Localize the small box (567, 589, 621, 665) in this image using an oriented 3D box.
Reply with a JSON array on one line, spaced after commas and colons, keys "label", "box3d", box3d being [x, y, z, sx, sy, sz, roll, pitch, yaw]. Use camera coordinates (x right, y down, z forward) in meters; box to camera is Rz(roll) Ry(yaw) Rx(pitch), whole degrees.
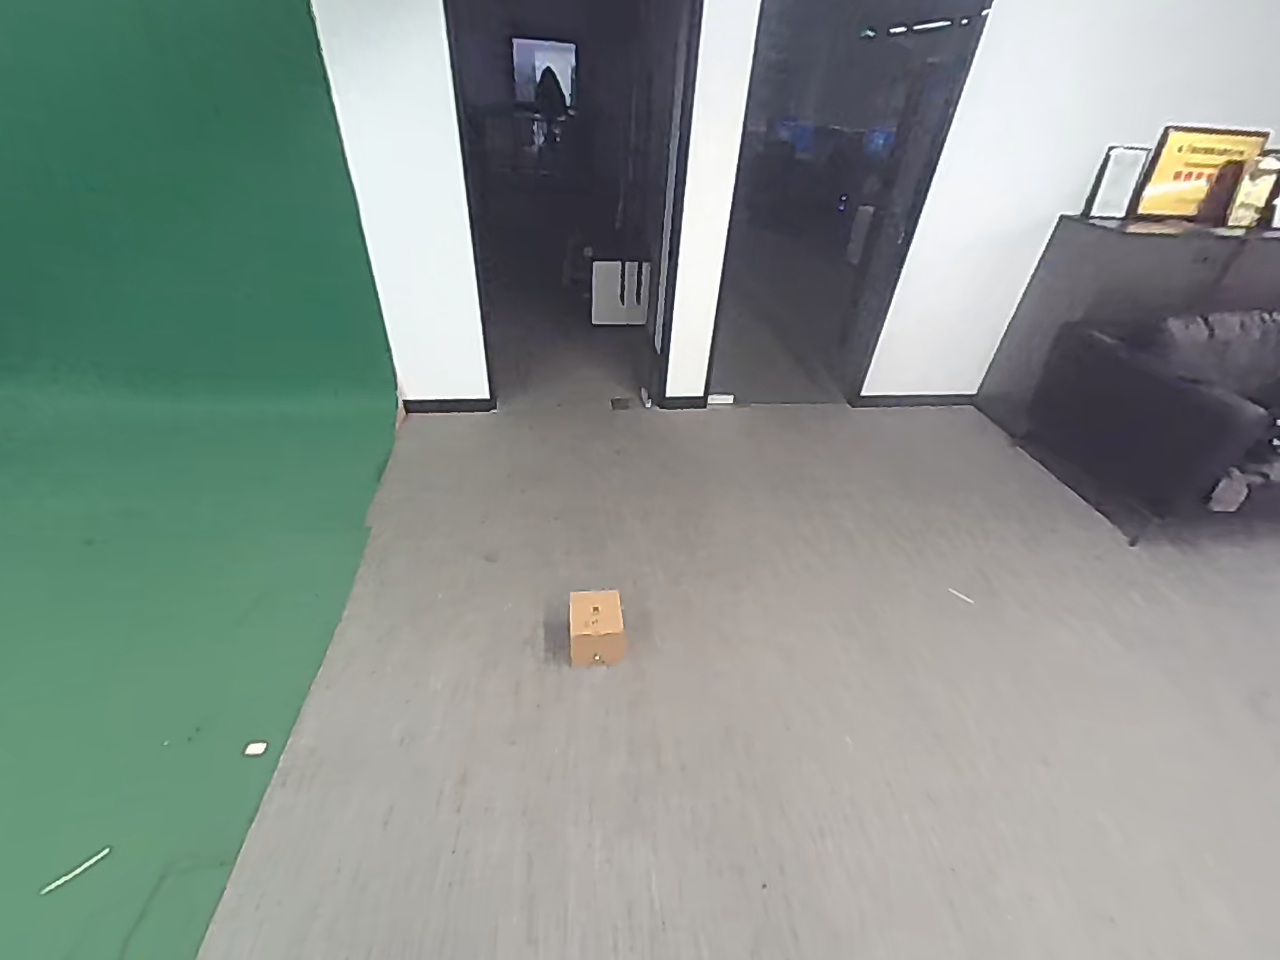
[{"label": "small box", "box3d": [-0.153, 0.479, 1.763, 0.168, 0.176, 0.179, -2, 38, -7]}]
